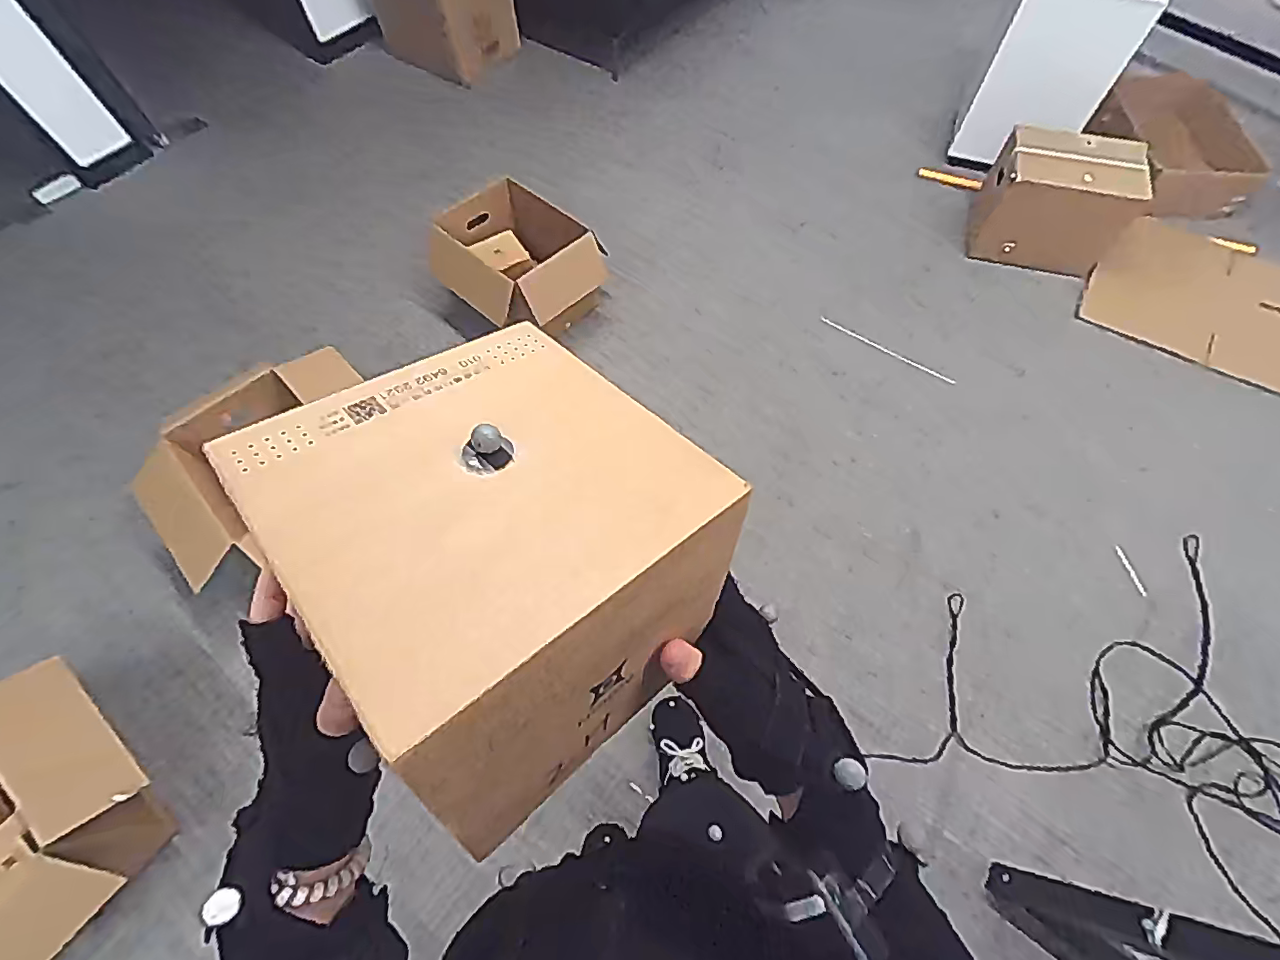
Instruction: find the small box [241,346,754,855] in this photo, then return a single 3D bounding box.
[{"bbox_3d":[-0.069,0.048,0.292,0.168,0.179,0.176,-32,57,-31],"label":"small box"}]
